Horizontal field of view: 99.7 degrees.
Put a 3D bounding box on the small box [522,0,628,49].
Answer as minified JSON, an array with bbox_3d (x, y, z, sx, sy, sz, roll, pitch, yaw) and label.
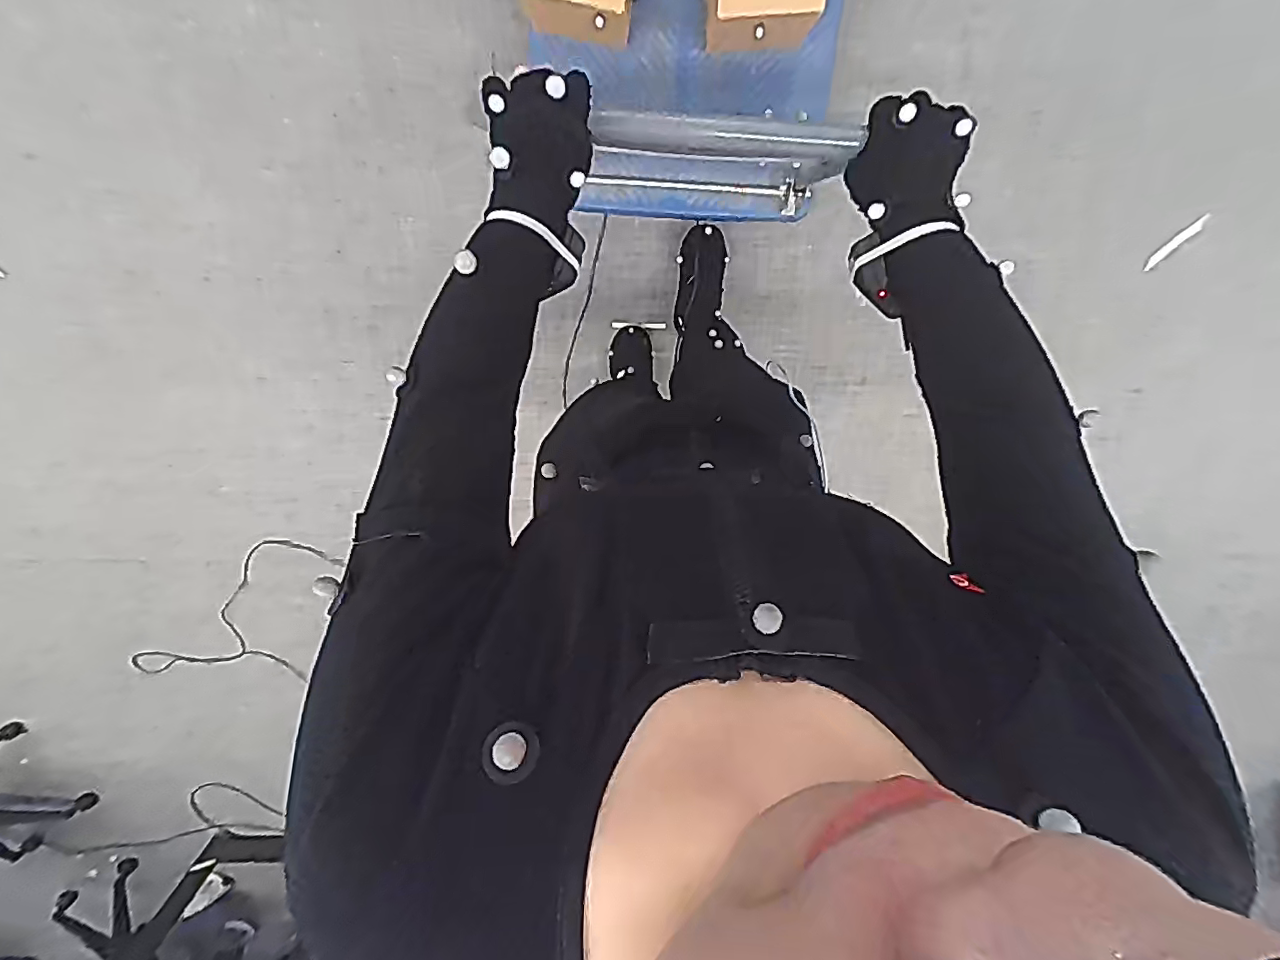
[{"bbox_3d":[-0.106,-0.859,0.902,0.179,0.176,0.168,8,111,-5],"label":"small box"}]

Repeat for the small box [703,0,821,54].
[{"bbox_3d":[0.198,-0.846,0.909,0.179,0.176,0.168,-3,112,1],"label":"small box"}]
